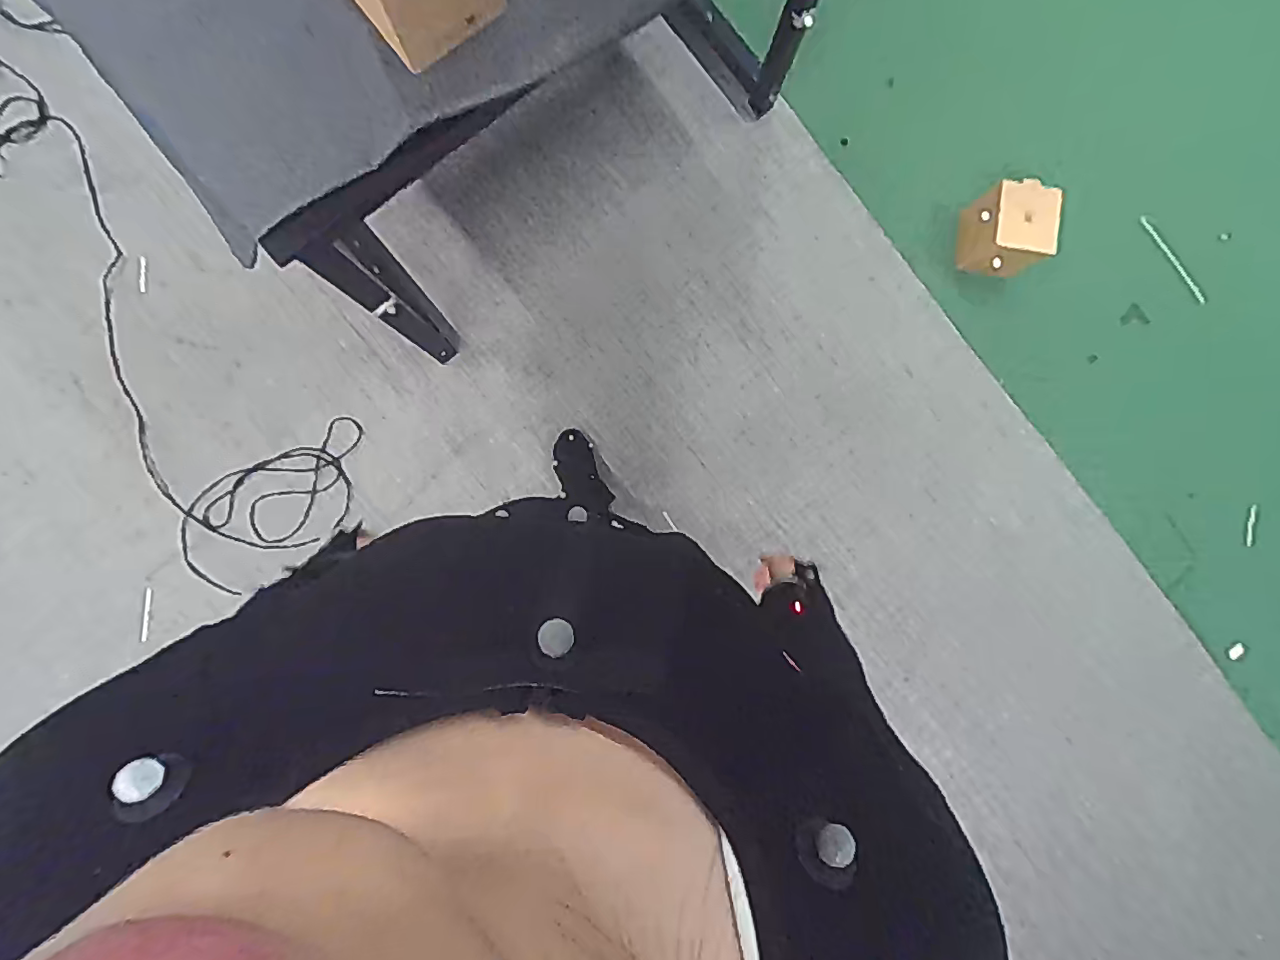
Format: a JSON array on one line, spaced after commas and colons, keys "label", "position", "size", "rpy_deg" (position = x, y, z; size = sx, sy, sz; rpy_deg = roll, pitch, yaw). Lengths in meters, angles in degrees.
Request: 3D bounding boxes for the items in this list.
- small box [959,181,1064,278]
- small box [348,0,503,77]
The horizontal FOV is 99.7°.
[{"label": "small box", "position": [1.001, -0.672, 1.471], "size": [0.168, 0.176, 0.179], "rpy_deg": [7, 89, -3]}, {"label": "small box", "position": [-0.296, -0.662, 0.664], "size": [0.168, 0.176, 0.179], "rpy_deg": [-39, 90, -3]}]
